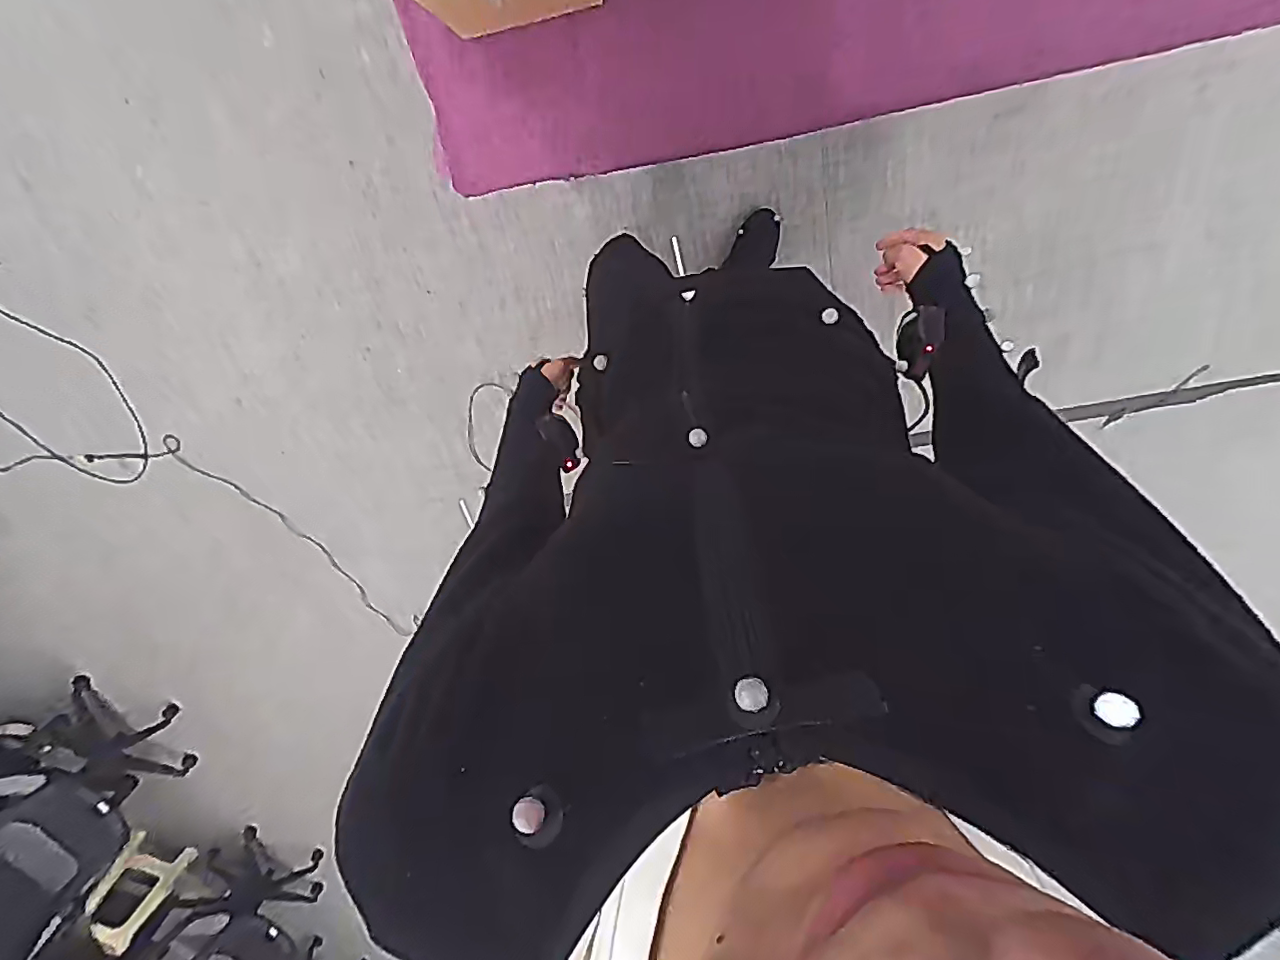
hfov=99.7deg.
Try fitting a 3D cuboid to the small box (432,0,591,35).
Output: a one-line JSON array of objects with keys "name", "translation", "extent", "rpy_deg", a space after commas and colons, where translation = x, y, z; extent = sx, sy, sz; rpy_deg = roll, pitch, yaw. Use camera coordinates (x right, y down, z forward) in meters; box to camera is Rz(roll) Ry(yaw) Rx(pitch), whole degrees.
[{"name": "small box", "translation": [-0.148, -0.580, 0.538], "extent": [0.179, 0.176, 0.168], "rpy_deg": [-9, 117, 6]}]
